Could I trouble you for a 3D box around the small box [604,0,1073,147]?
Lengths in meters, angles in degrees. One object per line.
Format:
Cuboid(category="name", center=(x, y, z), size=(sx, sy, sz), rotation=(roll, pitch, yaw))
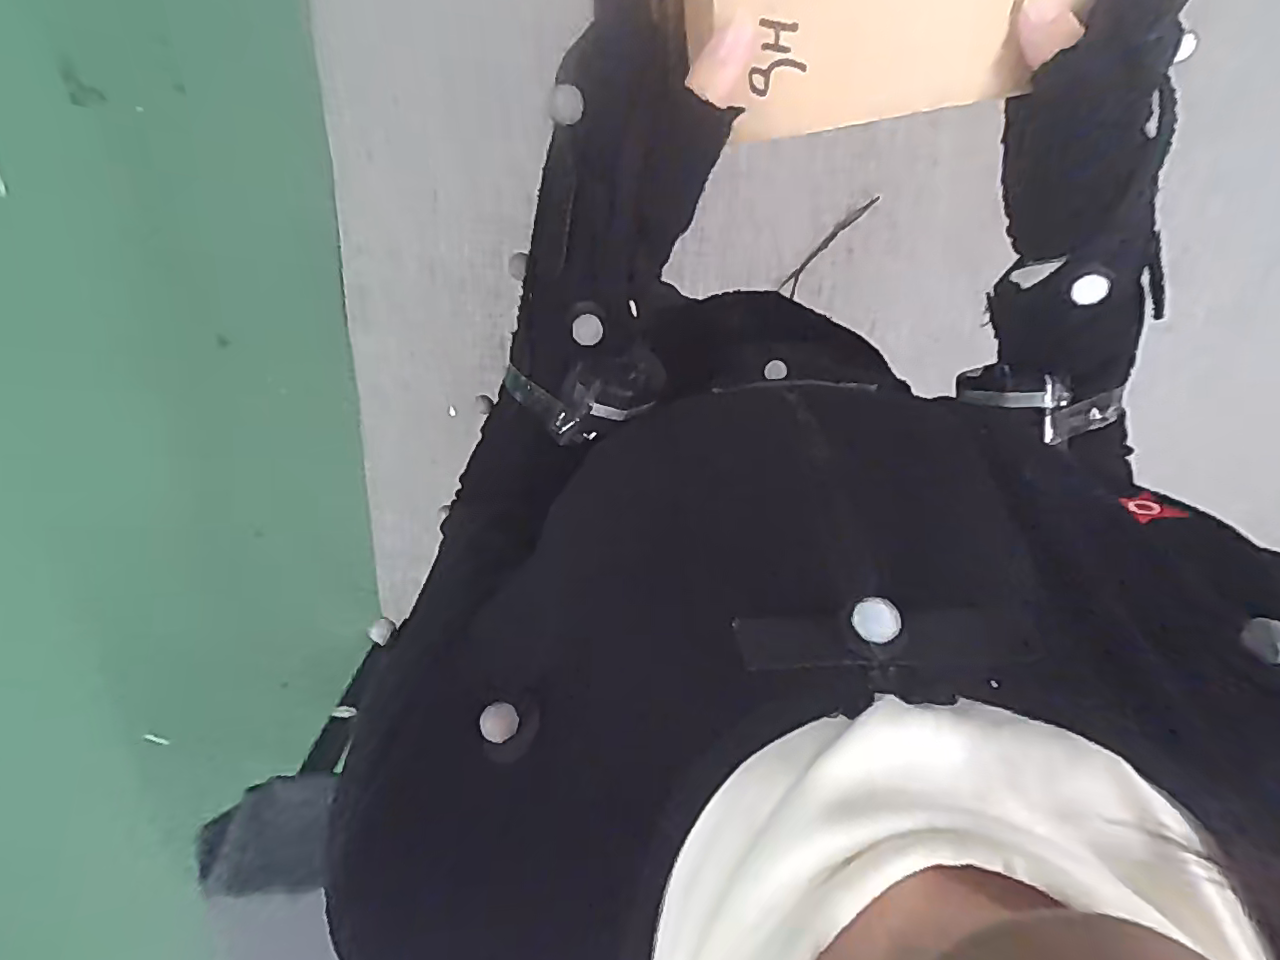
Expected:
Cuboid(category="small box", center=(0.079, -0.276, 0.252), size=(0.179, 0.176, 0.168), rotation=(-15, 130, -5))
